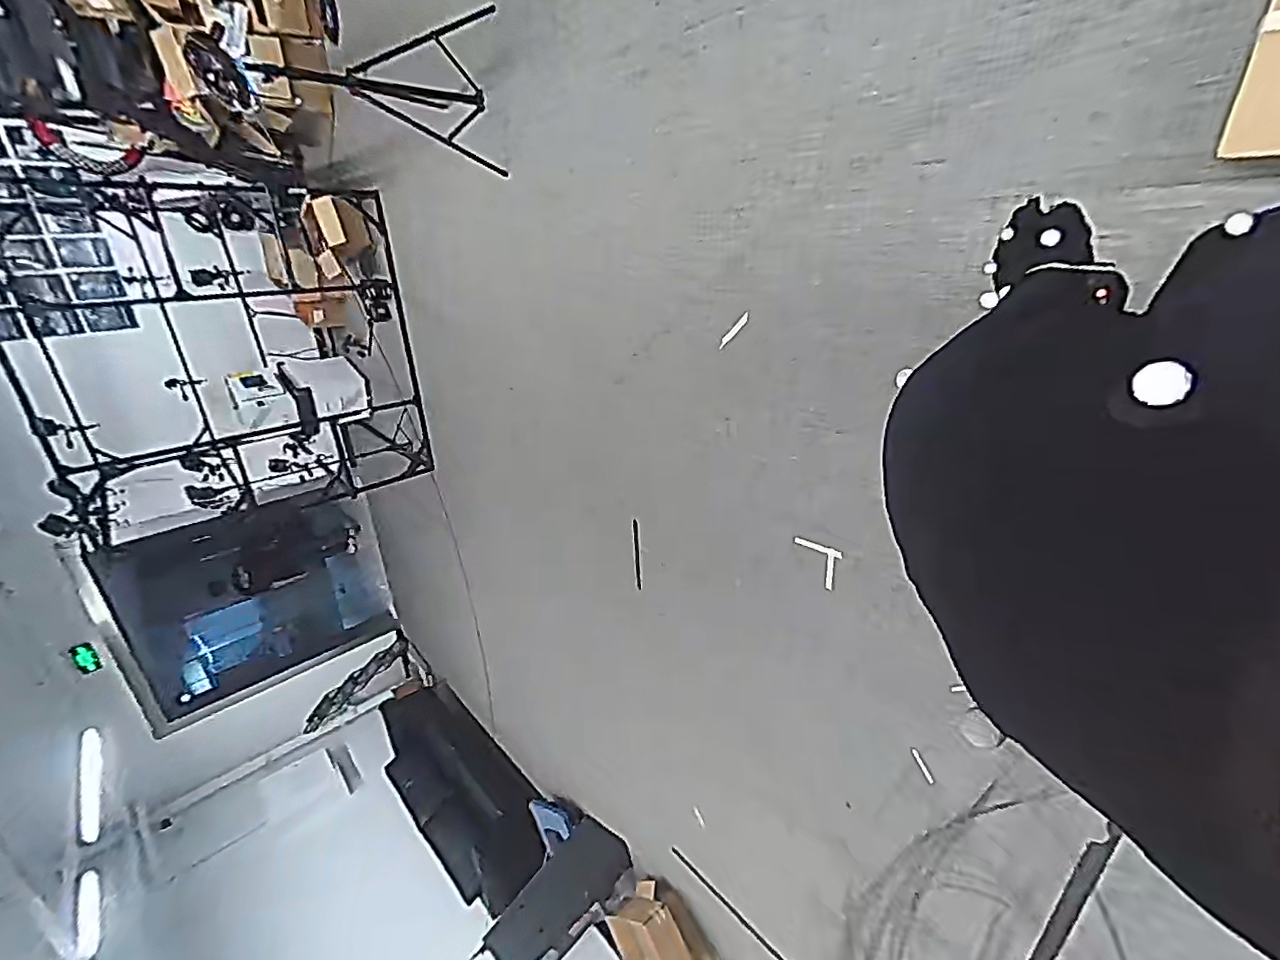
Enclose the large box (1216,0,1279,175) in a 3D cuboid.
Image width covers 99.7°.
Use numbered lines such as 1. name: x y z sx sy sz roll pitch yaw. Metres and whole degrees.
1. large box: 1.062 -0.585 0.676 0.408 0.320 0.320 23 124 41
